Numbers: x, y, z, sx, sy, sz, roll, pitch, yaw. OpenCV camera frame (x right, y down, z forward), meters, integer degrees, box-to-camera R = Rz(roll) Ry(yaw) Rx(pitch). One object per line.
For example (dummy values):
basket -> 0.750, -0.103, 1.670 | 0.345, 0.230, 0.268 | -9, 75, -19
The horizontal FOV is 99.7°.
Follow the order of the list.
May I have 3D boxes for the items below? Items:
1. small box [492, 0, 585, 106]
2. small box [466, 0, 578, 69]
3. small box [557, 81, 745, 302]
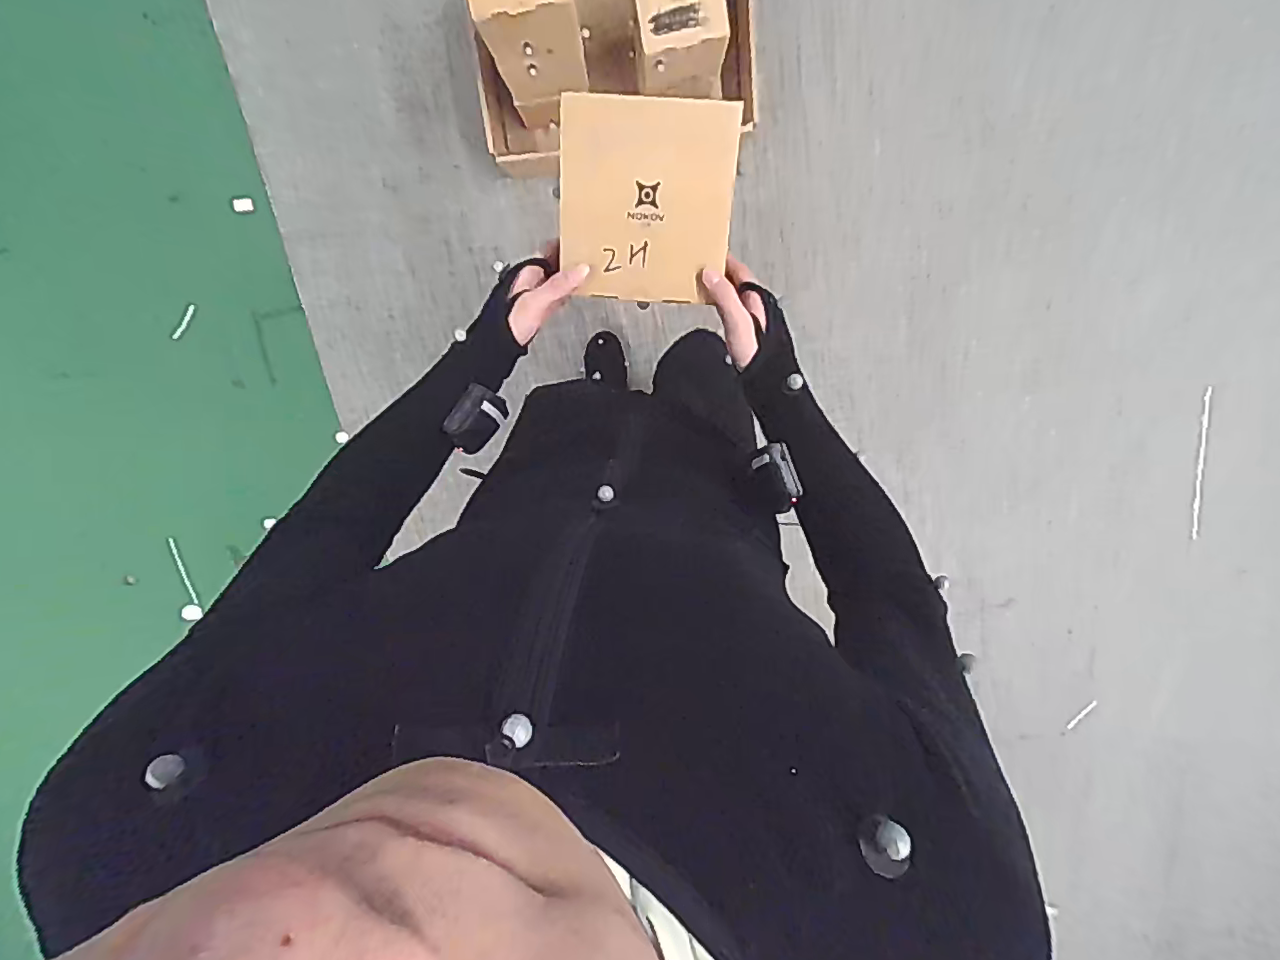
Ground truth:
small box -> -0.207, -0.886, 1.073 | 0.168, 0.176, 0.179 | -8, 104, 3
small box -> -0.206, -0.845, 0.915 | 0.168, 0.176, 0.179 | -9, 105, 2
small box -> 0.008, -0.292, 0.579 | 0.168, 0.176, 0.179 | 5, 112, 2
